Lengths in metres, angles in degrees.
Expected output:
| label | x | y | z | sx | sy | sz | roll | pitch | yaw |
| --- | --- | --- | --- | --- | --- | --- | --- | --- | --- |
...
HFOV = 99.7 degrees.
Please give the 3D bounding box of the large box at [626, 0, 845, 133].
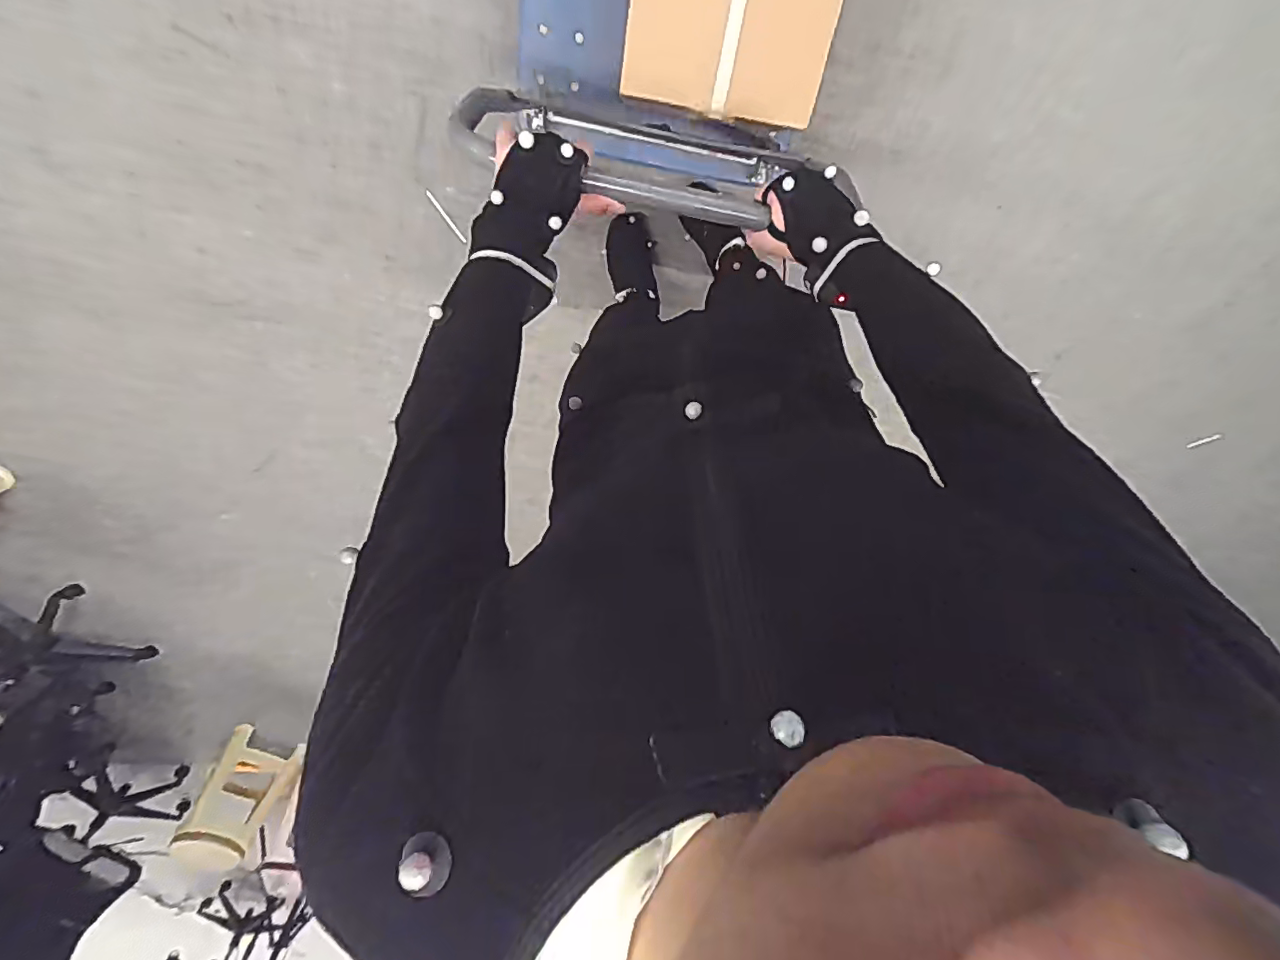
| label | x | y | z | sx | sy | sz | roll | pitch | yaw |
| --- | --- | --- | --- | --- | --- | --- | --- | --- | --- |
| large box | 0.158 | -0.837 | 0.896 | 0.320 | 0.320 | 0.408 | 8 | 121 | -6 |
